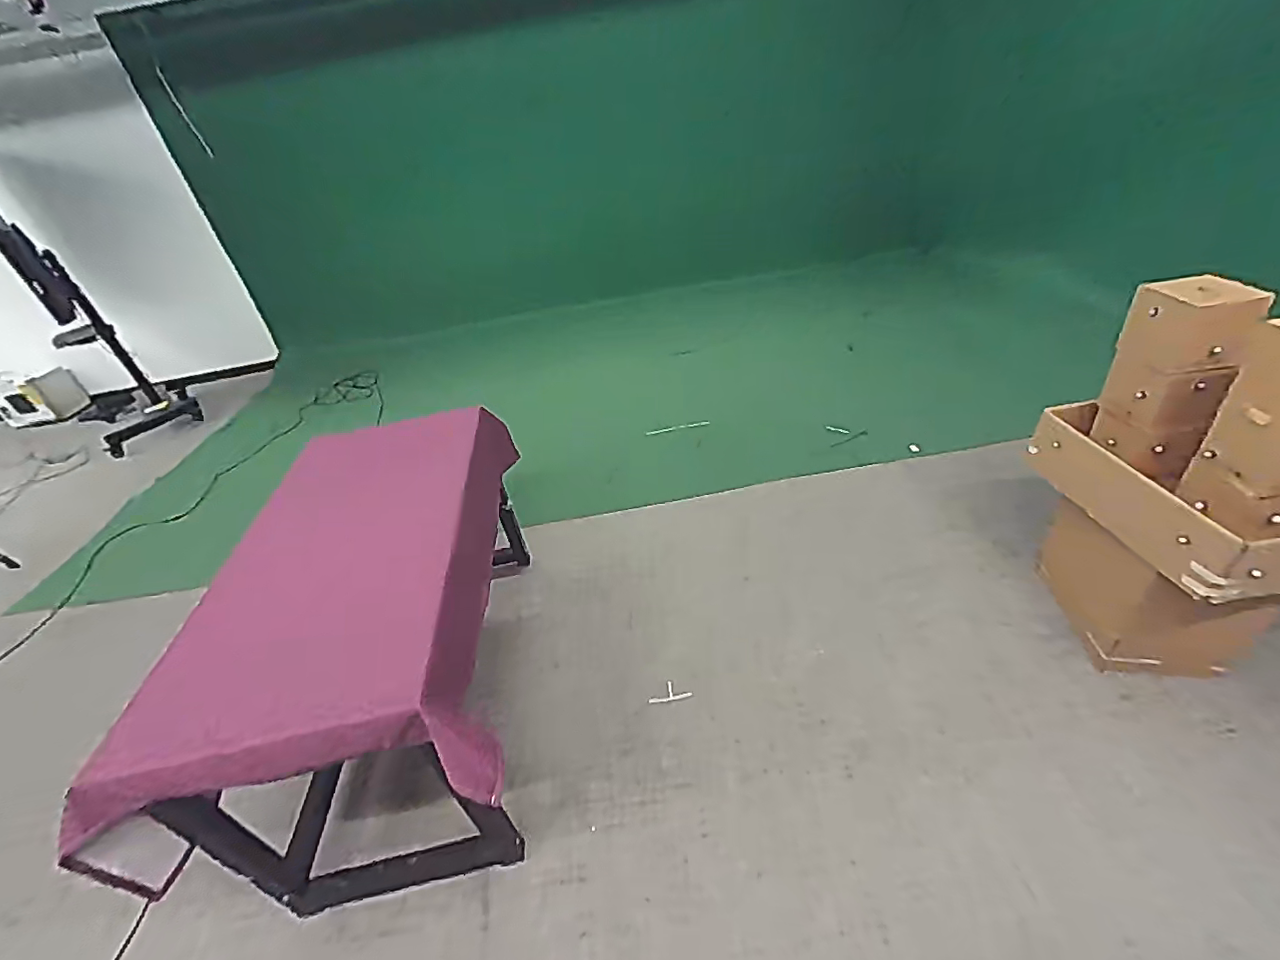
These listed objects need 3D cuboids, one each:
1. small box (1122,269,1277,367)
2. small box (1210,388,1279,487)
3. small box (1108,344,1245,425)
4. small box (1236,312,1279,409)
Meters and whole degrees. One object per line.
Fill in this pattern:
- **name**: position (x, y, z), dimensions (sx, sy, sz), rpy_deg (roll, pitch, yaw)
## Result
- **small box**: position (1.327, -0.389, 1.303), dimensions (0.168, 0.176, 0.179), rpy_deg (-9, 35, 6)
- **small box**: position (1.395, -0.099, 1.159), dimensions (0.179, 0.176, 0.168), rpy_deg (-8, 34, 4)
- **small box**: position (1.363, -0.257, 1.395), dimensions (0.179, 0.176, 0.168), rpy_deg (-10, 35, 2)
- **small box**: position (1.369, -0.233, 1.071), dimensions (0.168, 0.176, 0.179), rpy_deg (-9, 35, 4)
